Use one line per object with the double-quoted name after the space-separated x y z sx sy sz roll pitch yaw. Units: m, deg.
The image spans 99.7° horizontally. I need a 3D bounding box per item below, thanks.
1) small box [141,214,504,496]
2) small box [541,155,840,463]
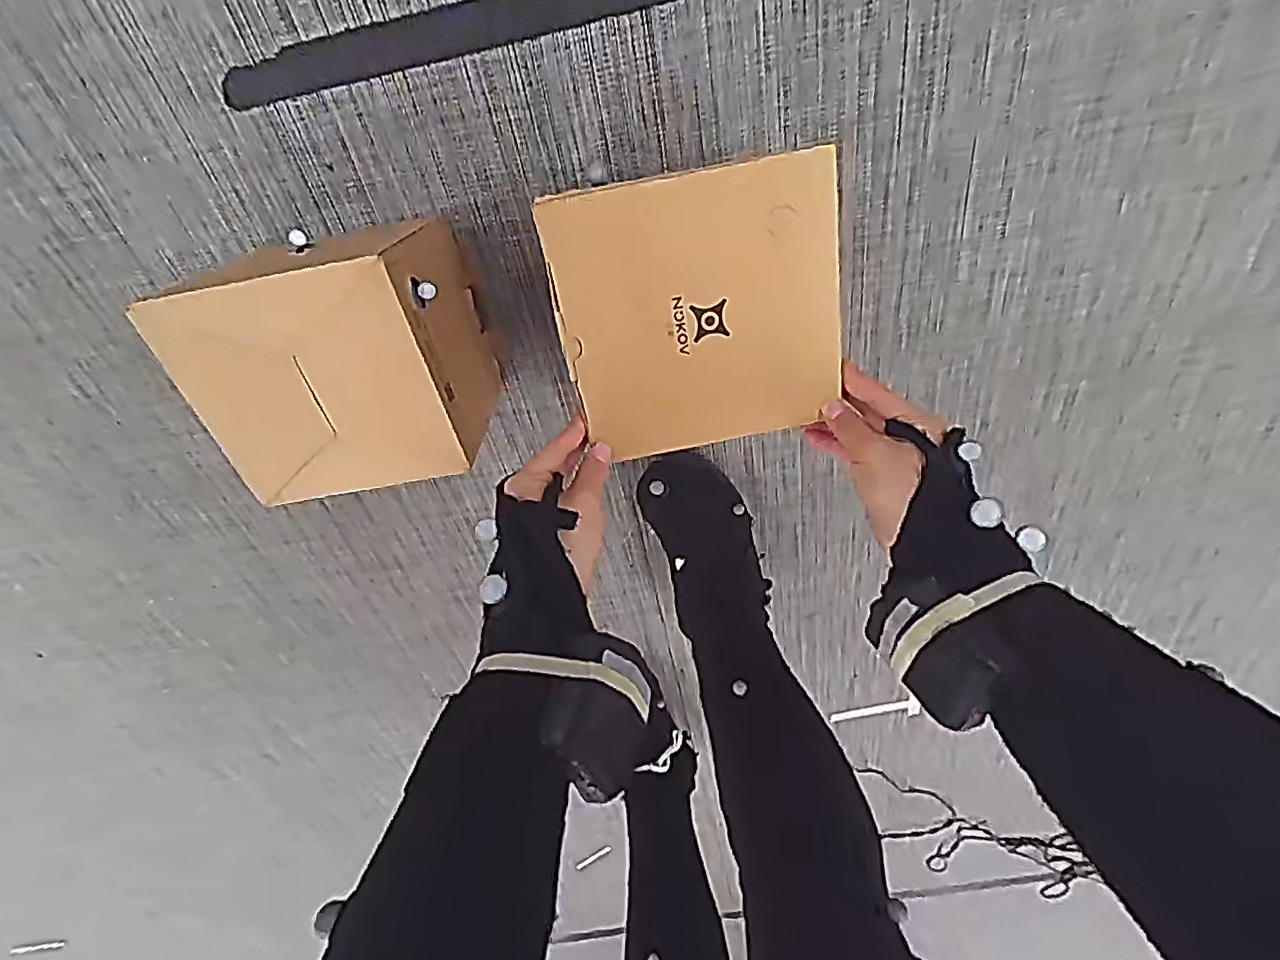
-0.233 -0.105 0.451 0.179 0.176 0.168 -10 124 2 "small box"
0.034 -0.134 0.412 0.179 0.176 0.168 -11 115 1 "small box"
